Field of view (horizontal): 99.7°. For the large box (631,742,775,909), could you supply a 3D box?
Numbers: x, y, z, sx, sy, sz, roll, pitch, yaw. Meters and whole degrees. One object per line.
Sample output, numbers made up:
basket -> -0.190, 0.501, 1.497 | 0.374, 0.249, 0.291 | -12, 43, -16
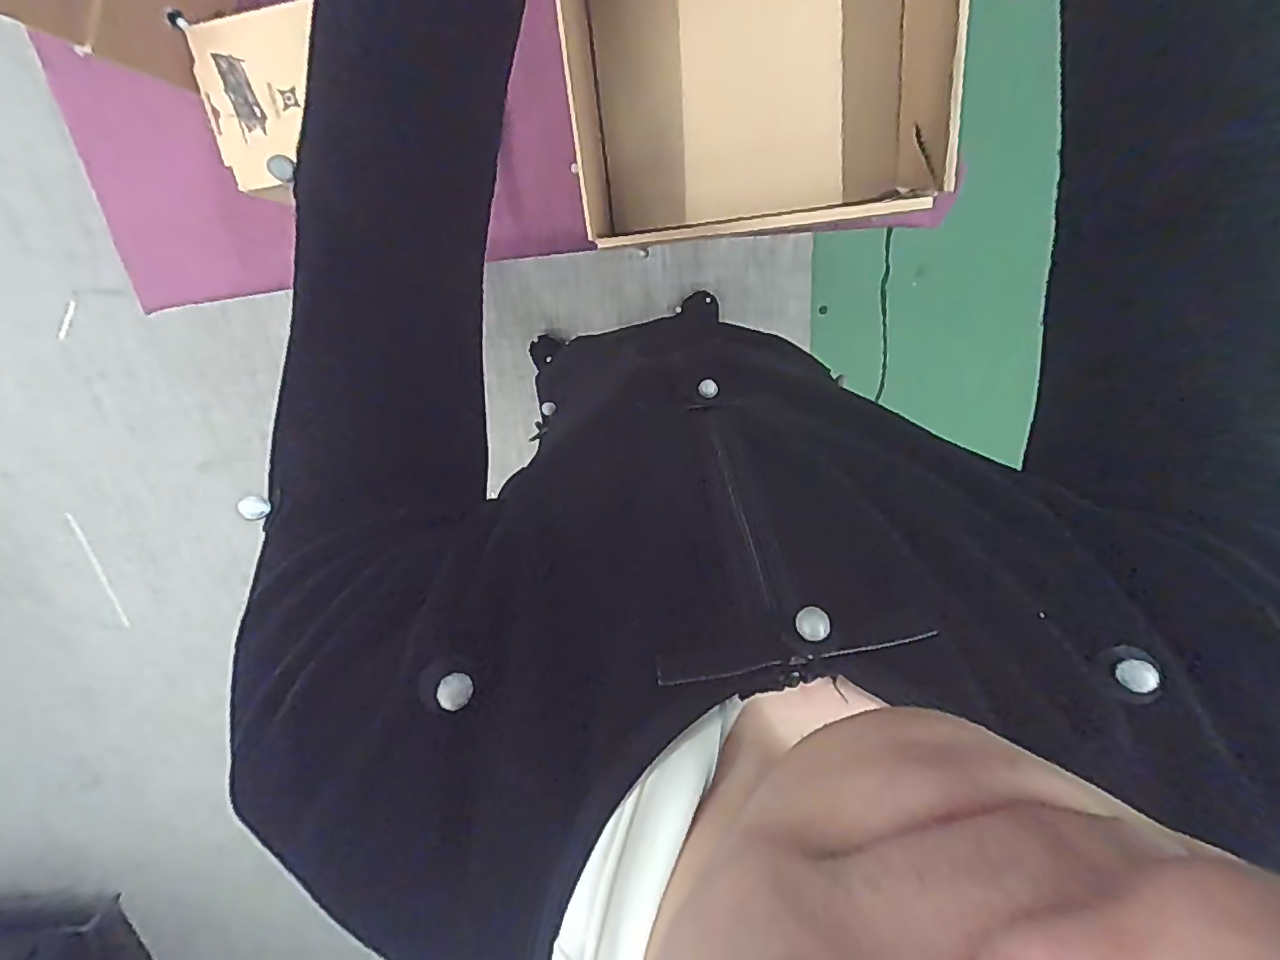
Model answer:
large box -> 0.221, 1.258, 1.986 | 0.408, 0.320, 0.320 | -35, 105, 14

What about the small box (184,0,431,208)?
small box -> -0.396, -0.454, 0.679 | 0.179, 0.176, 0.168 | -7, 109, 6

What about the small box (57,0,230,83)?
small box -> -0.634, -0.613, 0.635 | 0.179, 0.176, 0.168 | 35, 108, -9
